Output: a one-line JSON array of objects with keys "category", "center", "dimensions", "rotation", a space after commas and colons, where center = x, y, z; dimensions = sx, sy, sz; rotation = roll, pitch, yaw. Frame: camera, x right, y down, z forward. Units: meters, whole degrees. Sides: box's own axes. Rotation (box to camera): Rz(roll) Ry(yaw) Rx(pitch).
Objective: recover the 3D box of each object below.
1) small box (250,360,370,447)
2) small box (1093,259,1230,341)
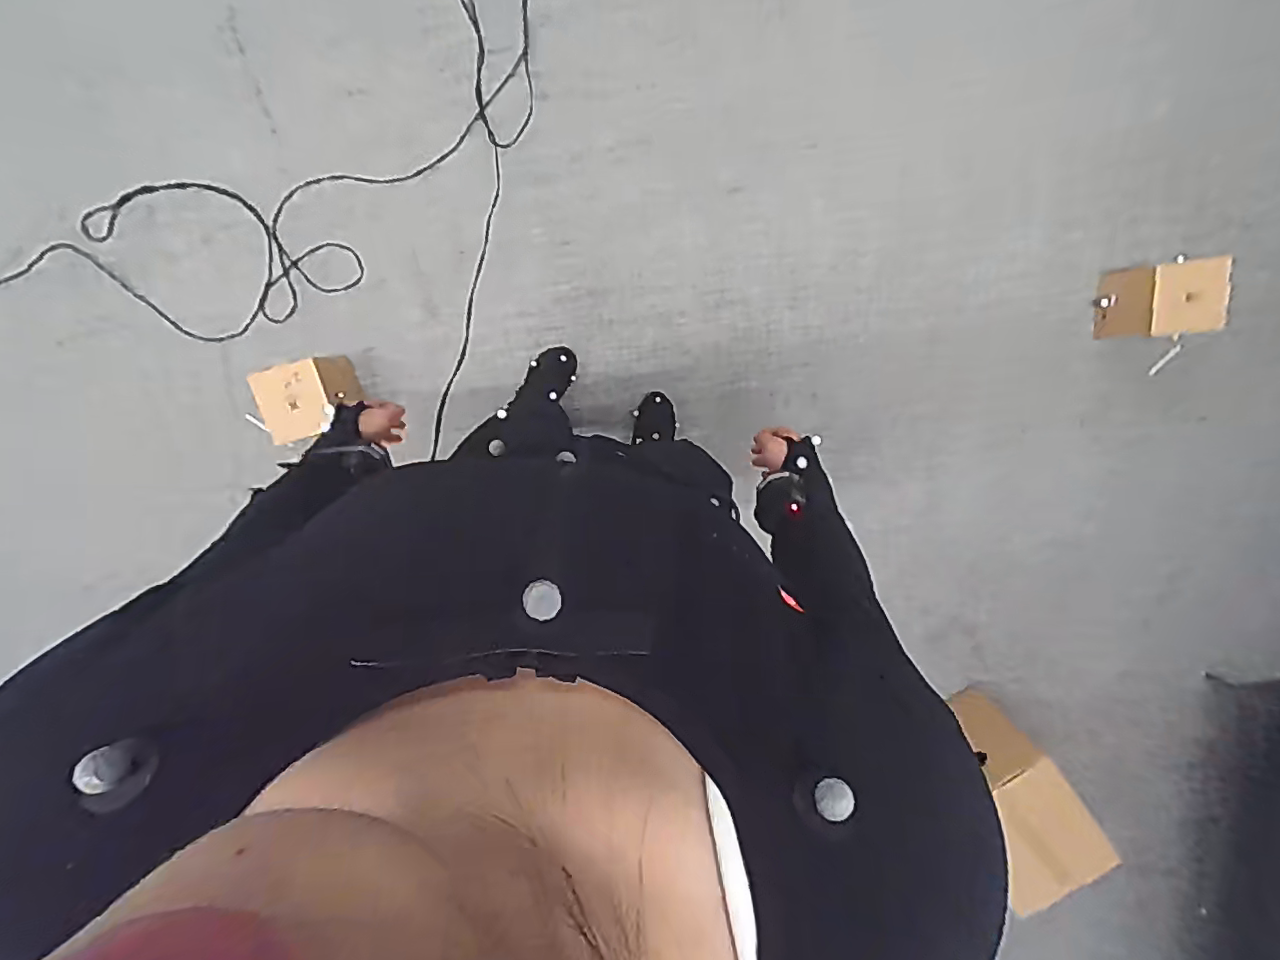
[{"category": "small box", "center": [-0.809, -0.195, 1.347], "dimensions": [0.168, 0.176, 0.179], "rotation": [-15, 102, 2]}, {"category": "small box", "center": [1.287, -0.442, 1.346], "dimensions": [0.179, 0.176, 0.168], "rotation": [-6, 101, 2]}]
